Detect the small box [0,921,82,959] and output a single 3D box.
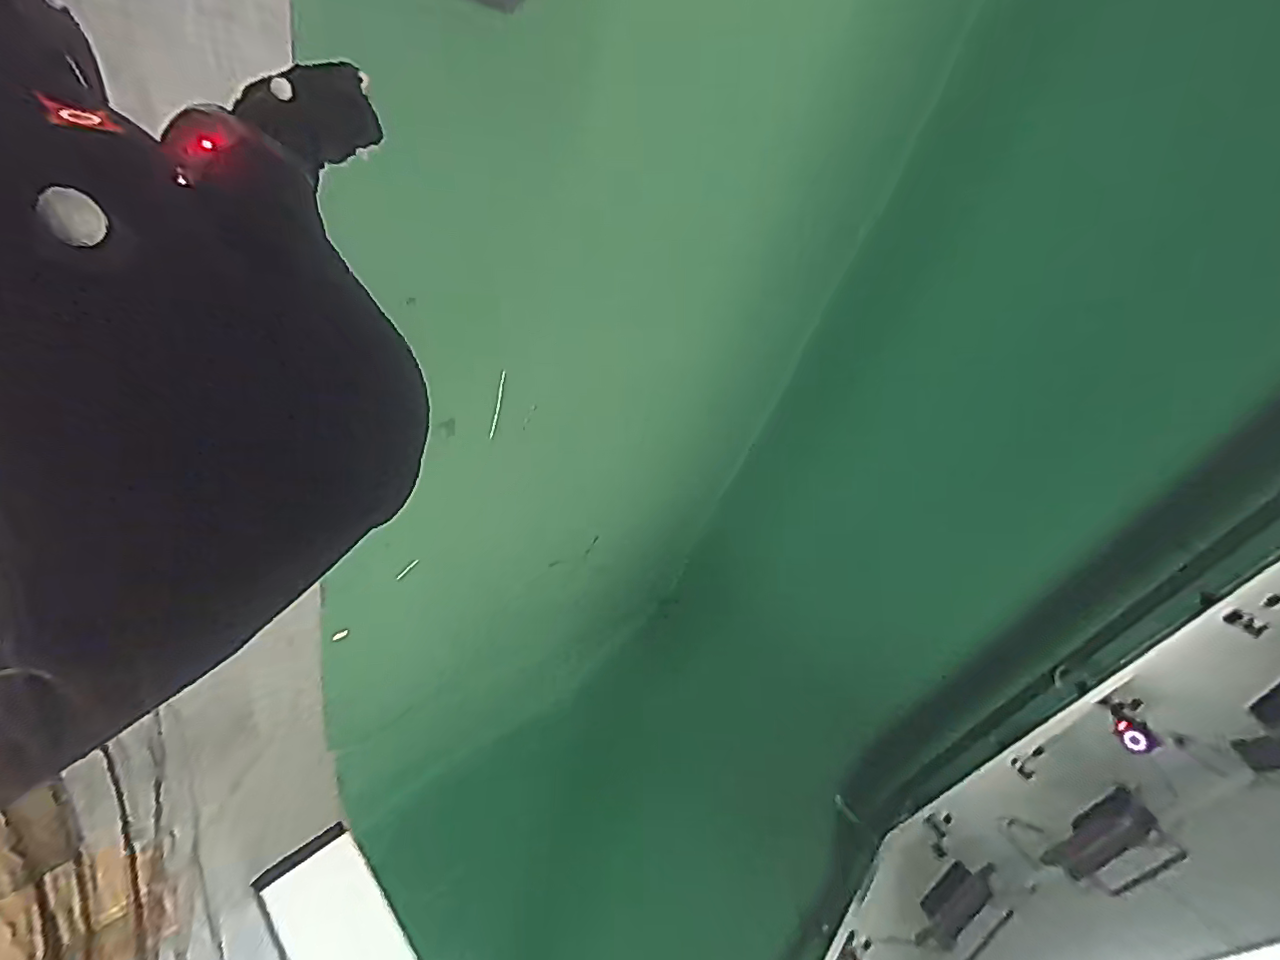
[{"bbox_3d":[-1.591,1.295,1.401,0.168,0.176,0.179,-29,149,-39],"label":"small box"}]
